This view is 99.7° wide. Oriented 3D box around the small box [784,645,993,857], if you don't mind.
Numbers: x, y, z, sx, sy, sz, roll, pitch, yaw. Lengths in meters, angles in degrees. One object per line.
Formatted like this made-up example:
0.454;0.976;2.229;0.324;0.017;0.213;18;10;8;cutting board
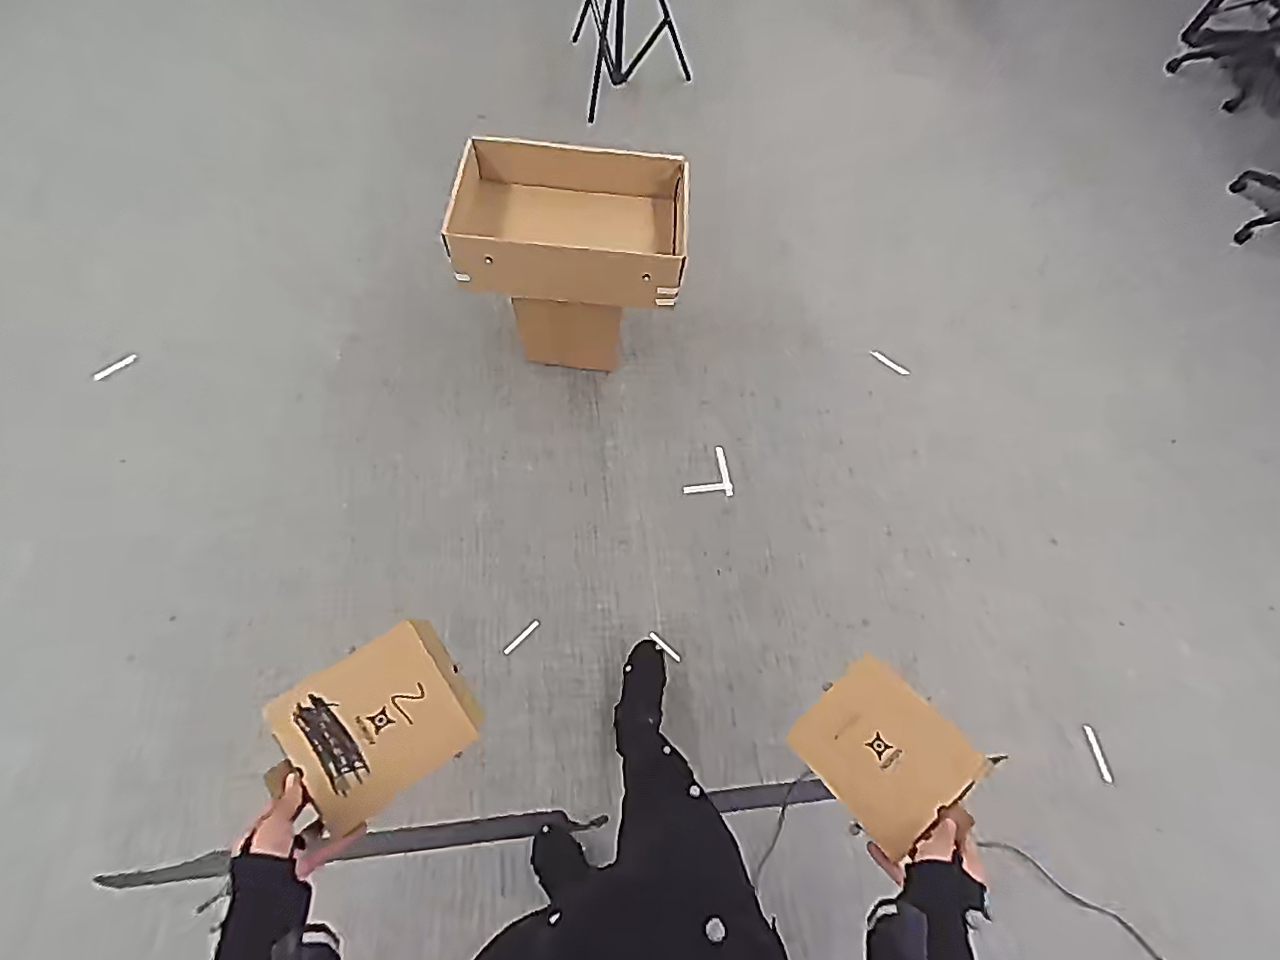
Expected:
0.318;0.353;0.724;0.168;0.176;0.179;-41;59;-6;small box
